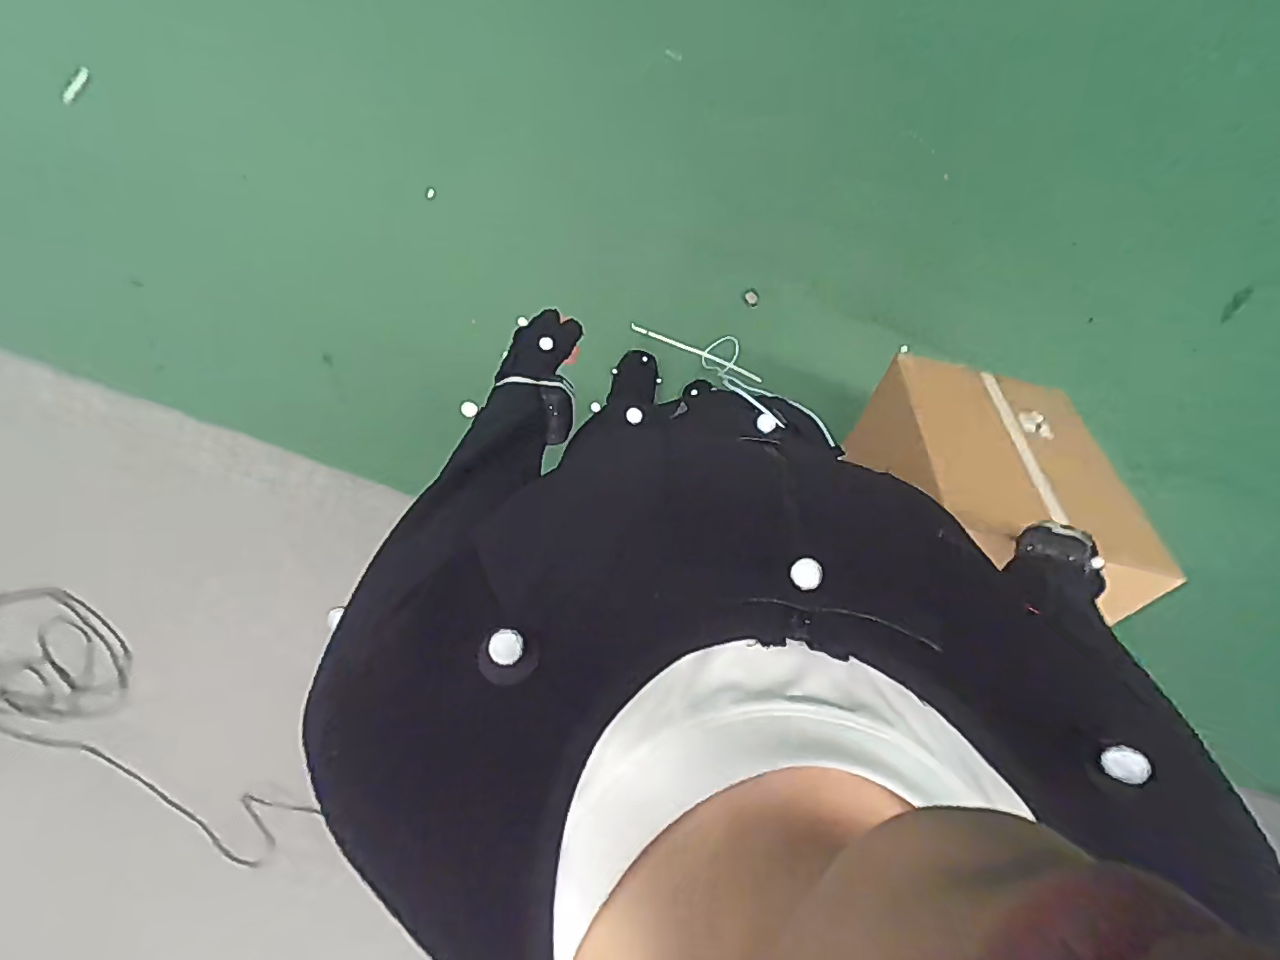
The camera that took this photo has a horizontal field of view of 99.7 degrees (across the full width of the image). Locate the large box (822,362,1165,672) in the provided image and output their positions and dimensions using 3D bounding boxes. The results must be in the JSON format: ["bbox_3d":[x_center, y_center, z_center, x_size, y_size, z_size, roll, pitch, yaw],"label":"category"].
[{"bbox_3d":[0.541,0.060,0.944,0.320,0.408,0.320,15,134,-2],"label":"large box"}]
